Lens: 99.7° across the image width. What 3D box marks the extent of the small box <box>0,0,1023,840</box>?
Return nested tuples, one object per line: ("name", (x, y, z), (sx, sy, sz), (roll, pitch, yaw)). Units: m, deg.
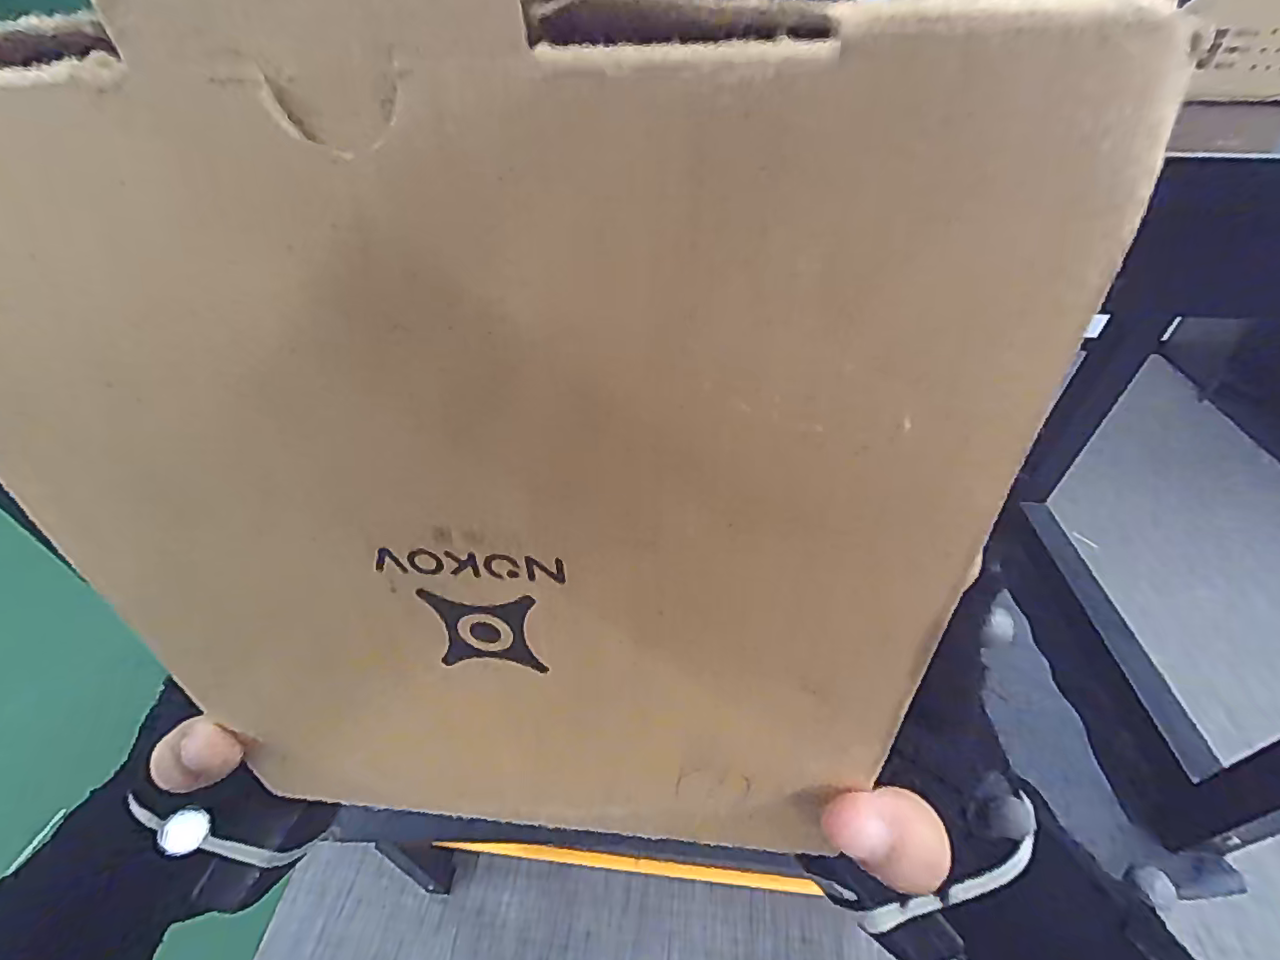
("small box", (-0.032, -0.024, 0.172), (0.168, 0.179, 0.176), (2, 35, 6))
